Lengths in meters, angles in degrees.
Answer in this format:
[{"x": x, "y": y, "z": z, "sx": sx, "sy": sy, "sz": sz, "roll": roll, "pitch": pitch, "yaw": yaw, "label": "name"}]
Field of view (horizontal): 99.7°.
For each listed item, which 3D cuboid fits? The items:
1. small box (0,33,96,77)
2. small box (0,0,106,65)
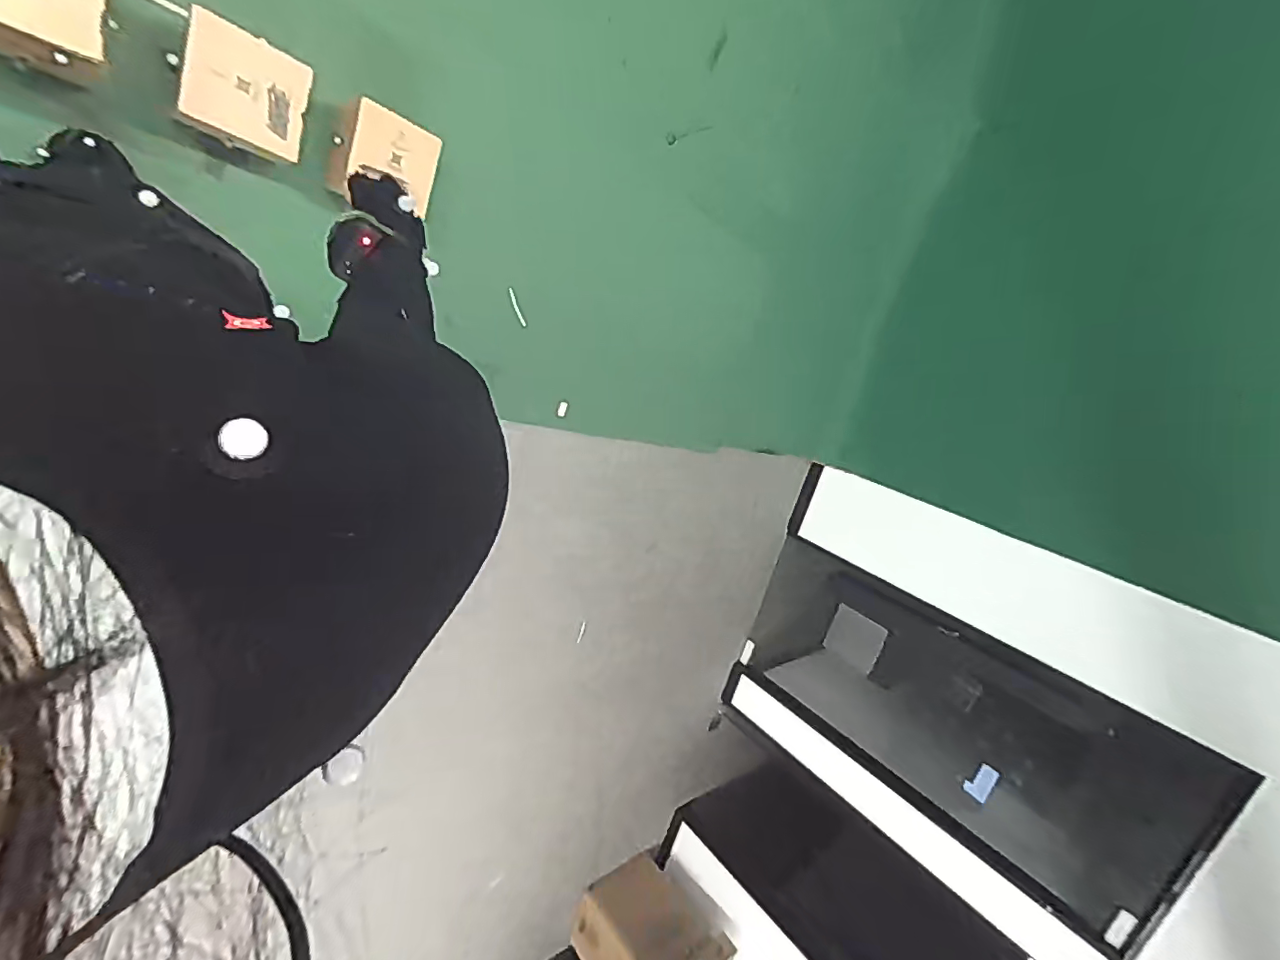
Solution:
[{"x": -0.917, "y": -0.733, "z": 0.796, "sx": 0.168, "sy": 0.176, "sz": 0.179, "roll": 3, "pitch": 111, "yaw": -45, "label": "small box"}, {"x": -0.809, "y": -0.670, "z": 0.691, "sx": 0.179, "sy": 0.176, "sz": 0.168, "roll": 1, "pitch": 112, "yaw": -45, "label": "small box"}]
